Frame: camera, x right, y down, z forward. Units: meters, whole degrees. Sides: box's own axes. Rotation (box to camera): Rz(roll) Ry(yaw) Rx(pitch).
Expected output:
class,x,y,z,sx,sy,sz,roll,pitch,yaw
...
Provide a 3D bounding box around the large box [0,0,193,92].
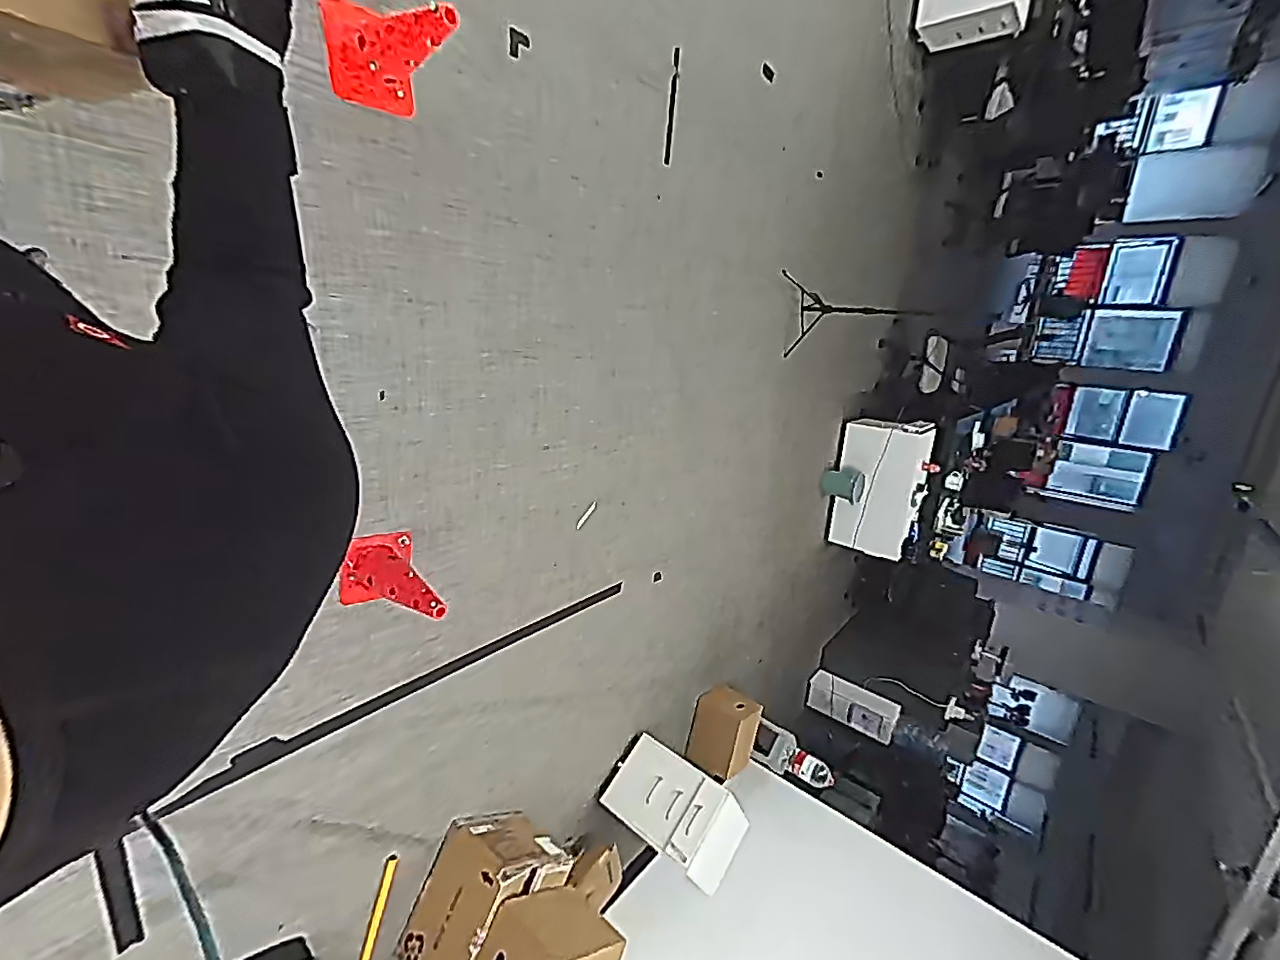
class,x,y,z,sx,sy,sz,roll,pitch,yaw
large box,-0.531,-0.449,0.261,0.408,0.320,0.320,-15,121,-51

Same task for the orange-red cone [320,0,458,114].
class,x,y,z,sx,sy,sz,roll,pitch,yaw
orange-red cone,-0.513,-0.966,1.176,0.198,0.360,0.199,-18,116,-48

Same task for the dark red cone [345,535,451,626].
class,x,y,z,sx,sy,sz,roll,pitch,yaw
dark red cone,-0.627,0.297,1.463,0.201,0.394,0.202,-6,107,-49
